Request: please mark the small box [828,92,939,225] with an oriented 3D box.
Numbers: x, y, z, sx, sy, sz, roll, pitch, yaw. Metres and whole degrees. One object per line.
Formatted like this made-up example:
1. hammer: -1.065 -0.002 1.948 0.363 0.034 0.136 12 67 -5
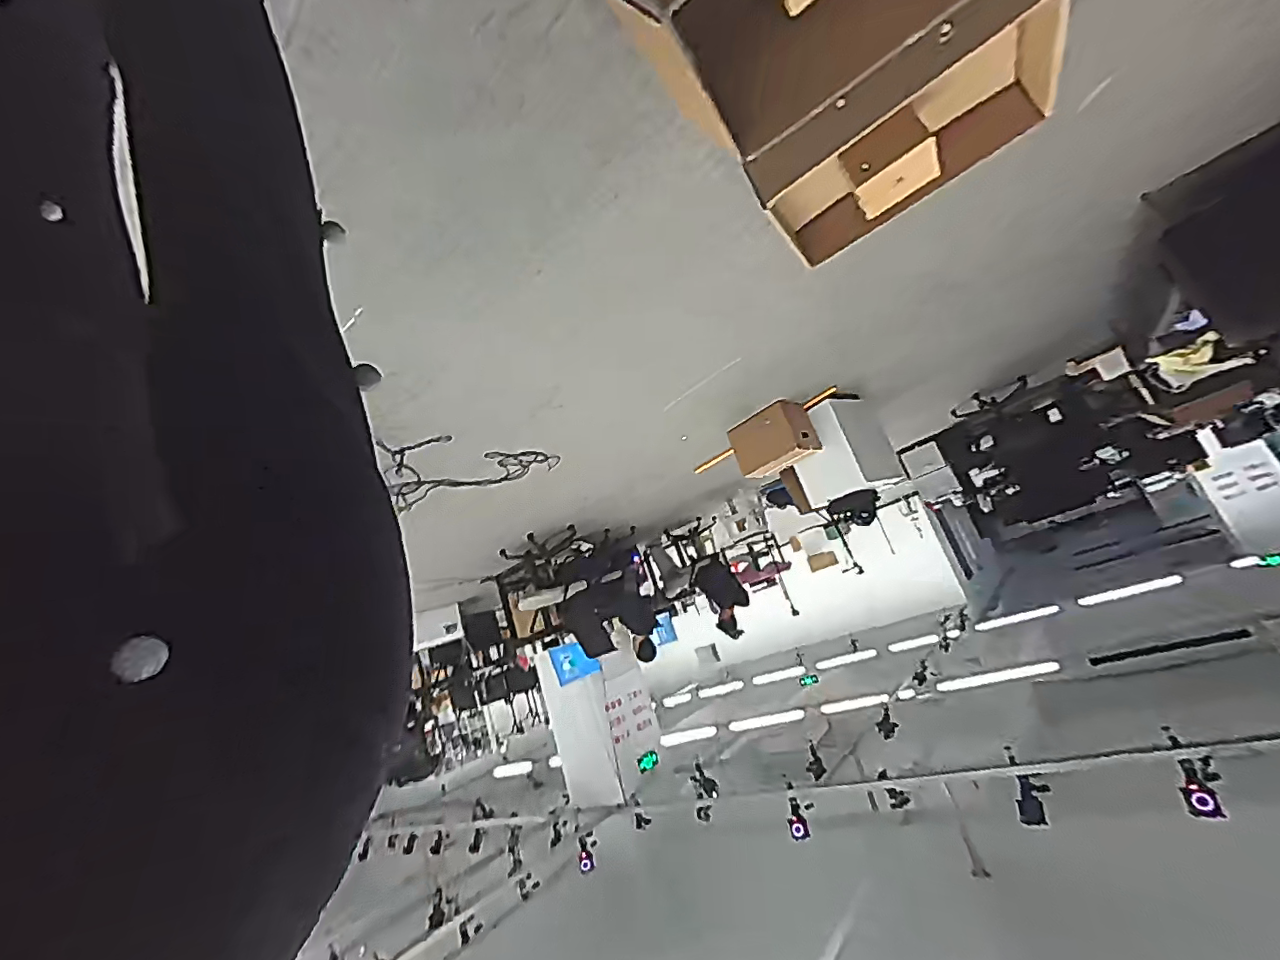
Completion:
1. small box: 0.576 -0.757 1.280 0.179 0.176 0.168 -29 162 29
